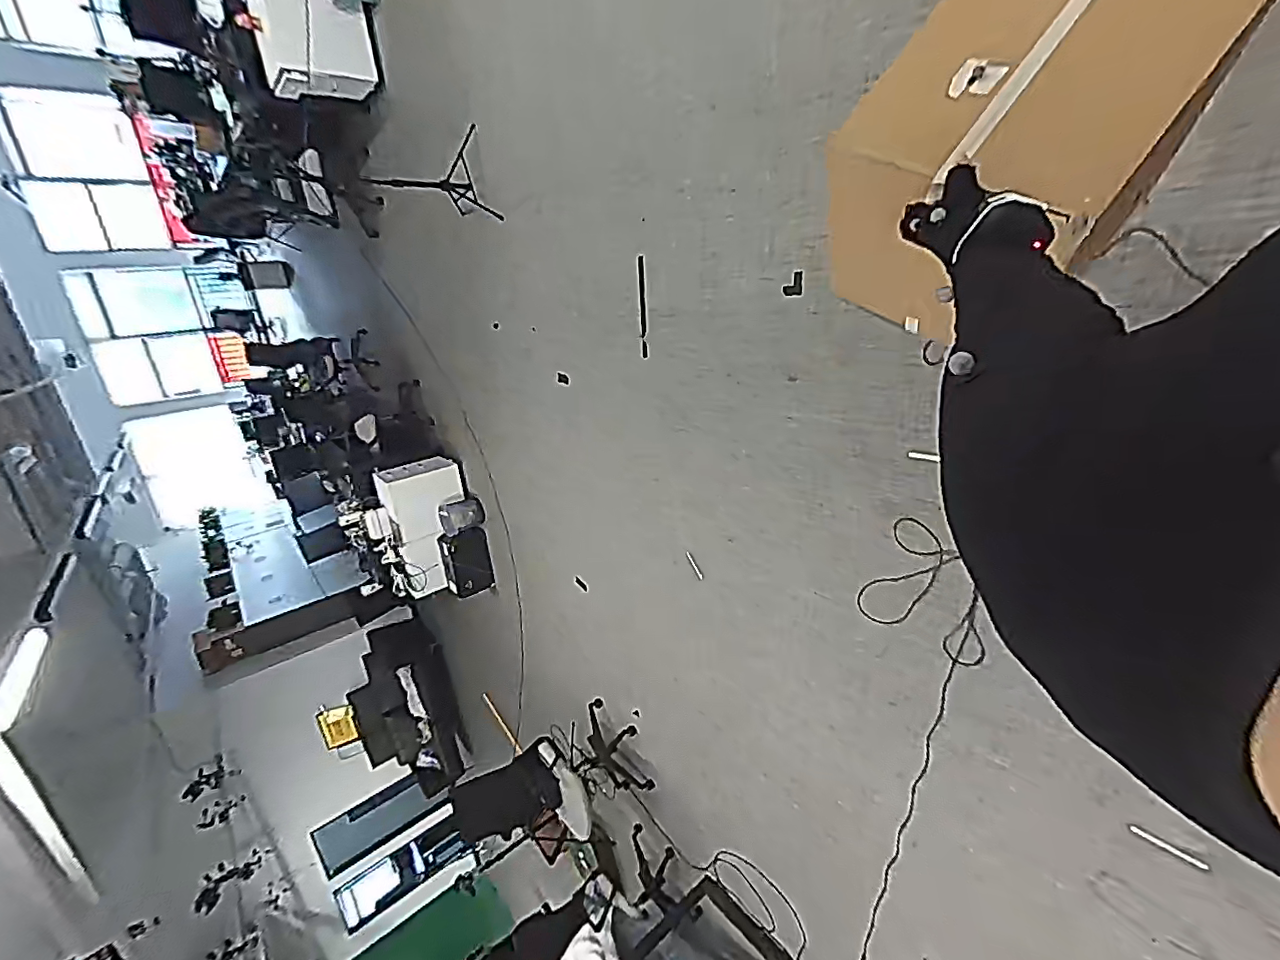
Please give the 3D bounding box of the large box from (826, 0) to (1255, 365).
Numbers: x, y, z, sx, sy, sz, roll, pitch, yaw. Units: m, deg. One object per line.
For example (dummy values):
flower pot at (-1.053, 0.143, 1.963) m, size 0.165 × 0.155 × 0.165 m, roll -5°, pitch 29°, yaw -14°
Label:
large box at (0.522, -0.453, 0.778) m, size 0.320 × 0.408 × 0.320 m, roll 38°, pitch 178°, yaw 29°
